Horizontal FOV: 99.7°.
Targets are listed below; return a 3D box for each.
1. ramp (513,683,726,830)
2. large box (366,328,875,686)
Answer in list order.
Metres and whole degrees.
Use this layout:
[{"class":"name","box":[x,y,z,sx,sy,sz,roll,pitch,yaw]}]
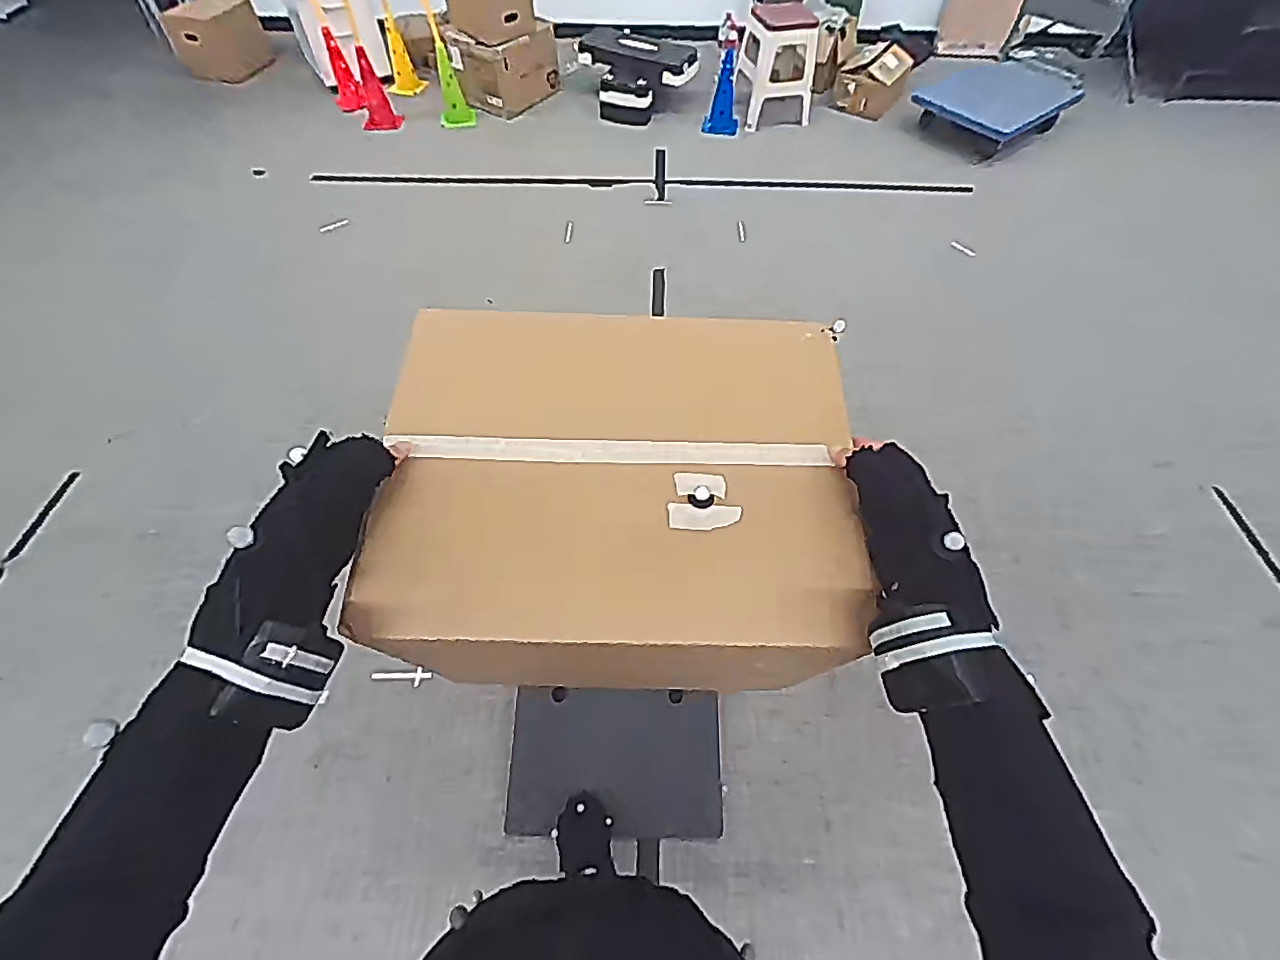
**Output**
[{"class":"ramp","box":[-0.040,0.336,1.422,0.509,0.206,0.991,0,56,-2]},{"class":"large box","box":[-0.019,0.052,0.615,0.408,0.320,0.320,2,64,-1]}]
